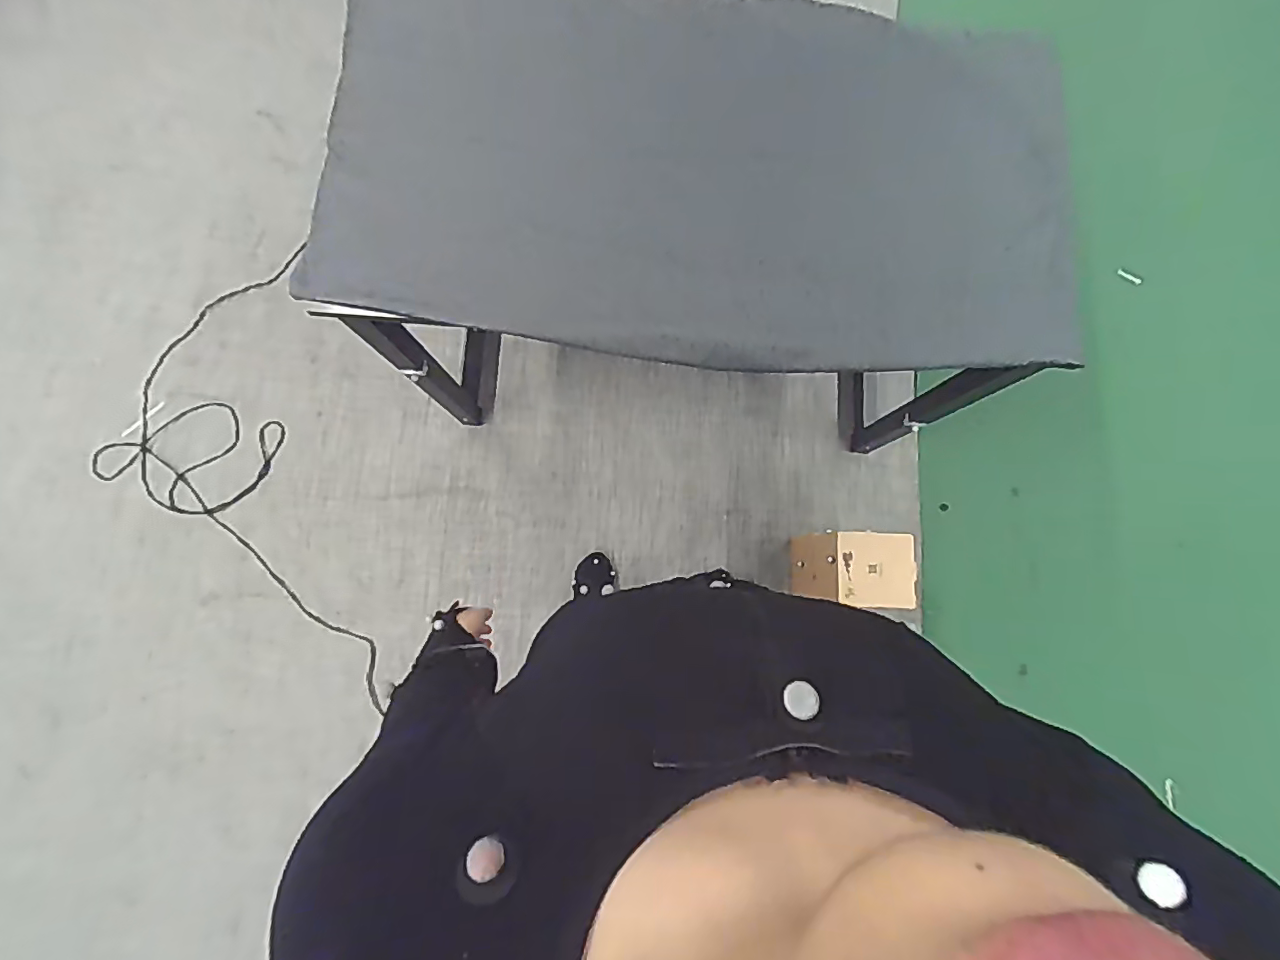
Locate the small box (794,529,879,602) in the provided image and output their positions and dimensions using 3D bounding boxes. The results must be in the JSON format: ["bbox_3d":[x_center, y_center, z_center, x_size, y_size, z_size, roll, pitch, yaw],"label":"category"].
[{"bbox_3d":[0.510,0.224,1.421,0.168,0.176,0.179,2,81,-1],"label":"small box"}]
